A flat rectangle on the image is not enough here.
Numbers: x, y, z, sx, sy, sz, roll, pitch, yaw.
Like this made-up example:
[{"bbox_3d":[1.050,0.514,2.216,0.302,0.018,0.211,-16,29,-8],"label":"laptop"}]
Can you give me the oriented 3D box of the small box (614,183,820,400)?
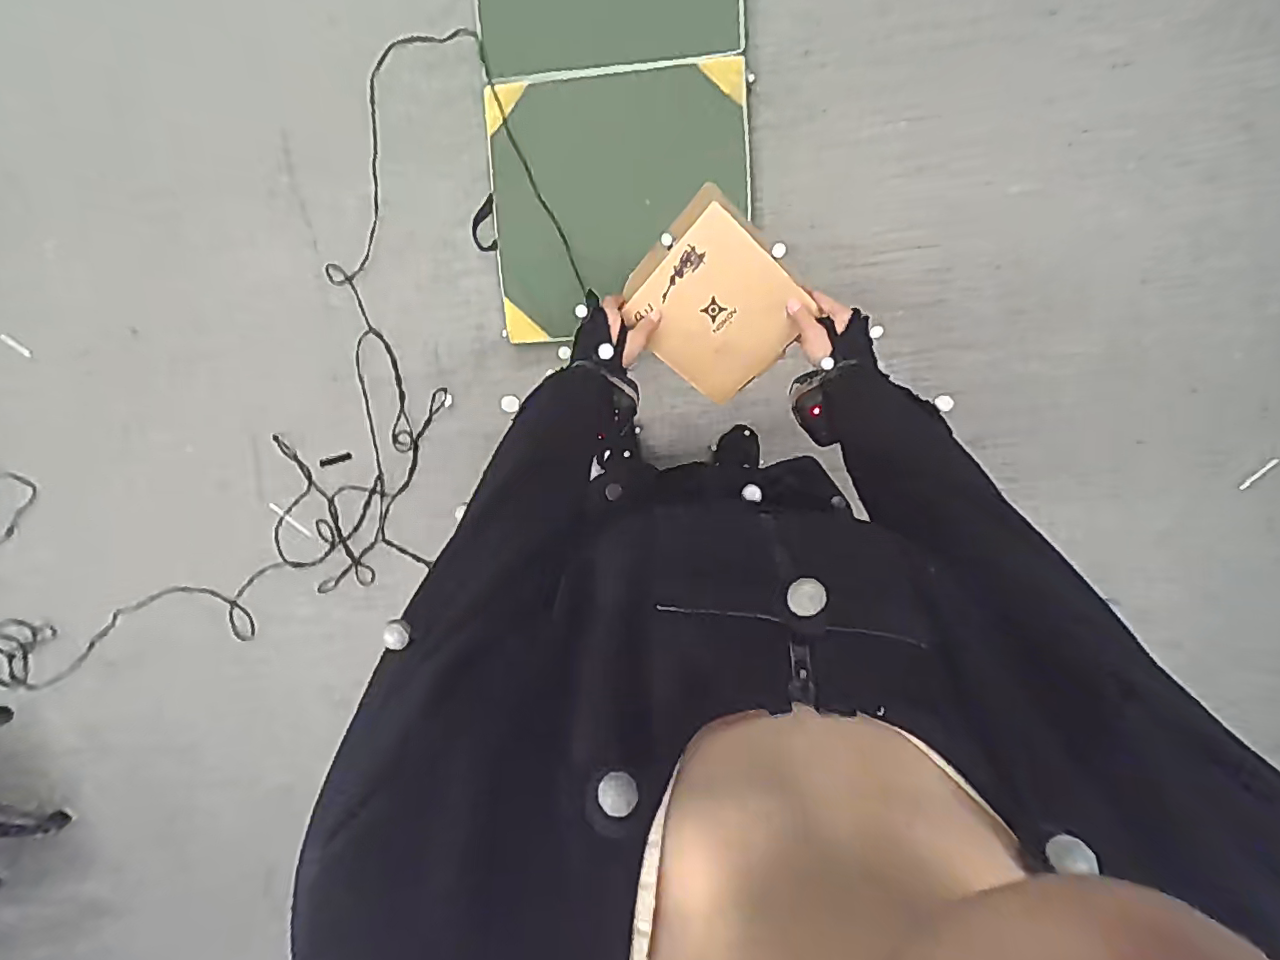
[{"bbox_3d":[0.091,-0.240,0.675,0.179,0.176,0.168,36,119,-19],"label":"small box"}]
